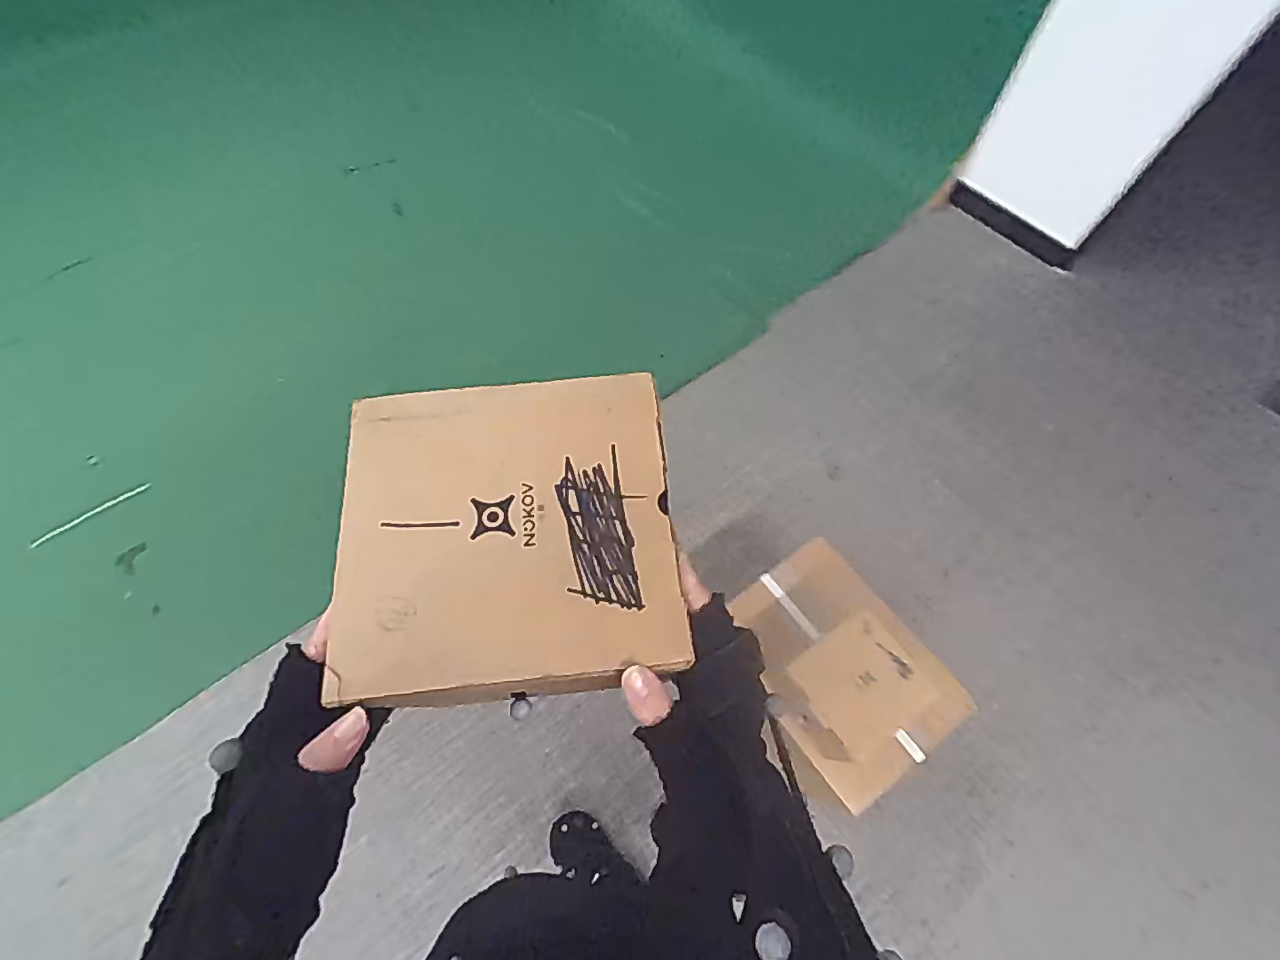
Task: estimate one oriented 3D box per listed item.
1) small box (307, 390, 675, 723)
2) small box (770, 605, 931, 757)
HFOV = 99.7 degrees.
[{"bbox_3d":[-0.080,0.059,0.359,0.179,0.176,0.168,-6,68,-4],"label":"small box"},{"bbox_3d":[0.341,0.343,0.920,0.179,0.176,0.168,-32,68,-12],"label":"small box"}]
